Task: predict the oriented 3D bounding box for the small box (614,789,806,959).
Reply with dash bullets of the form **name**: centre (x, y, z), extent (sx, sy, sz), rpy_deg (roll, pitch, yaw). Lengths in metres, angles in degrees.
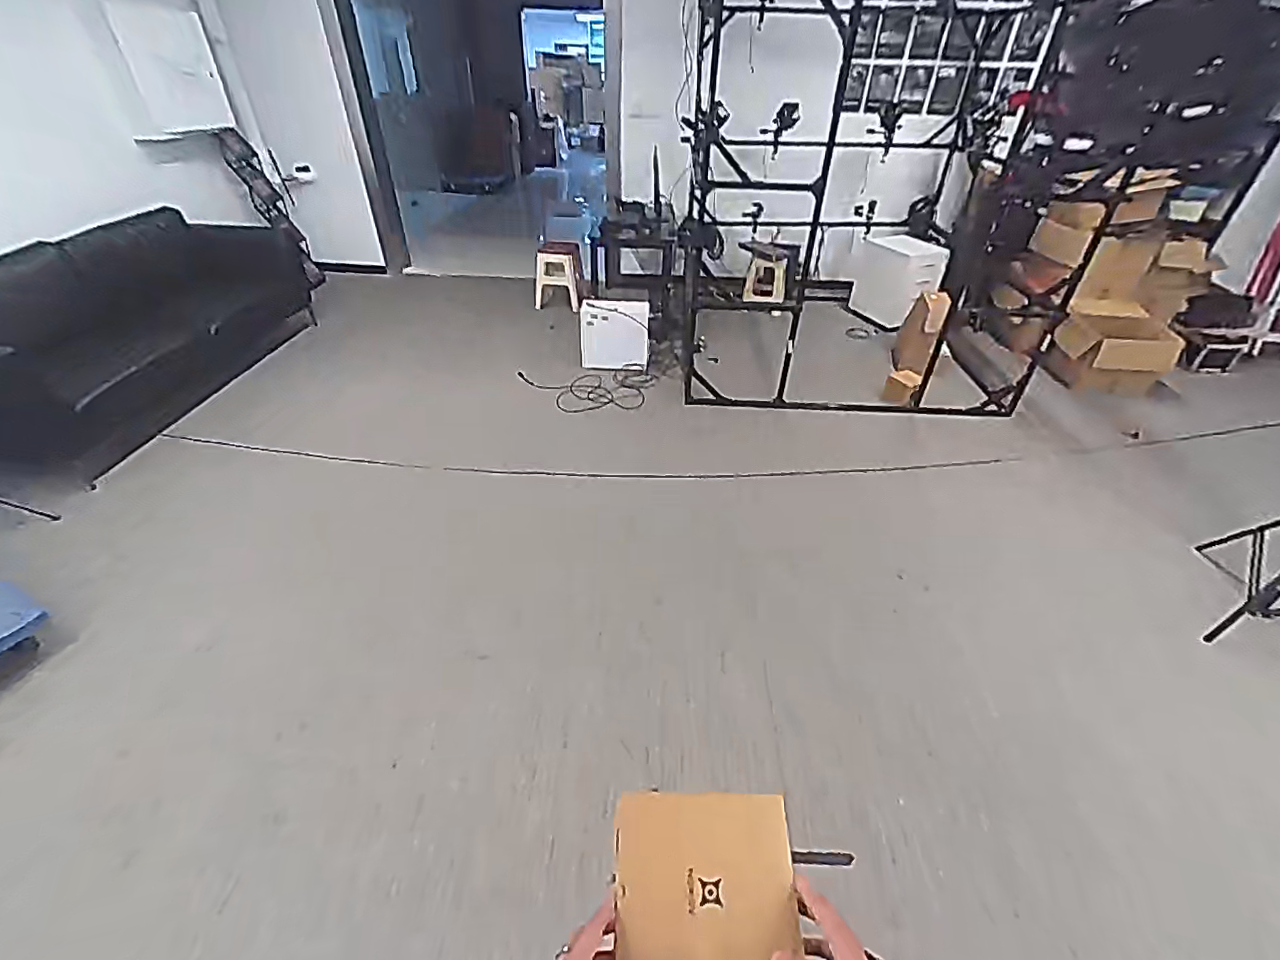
- **small box**: centre (0.062, 0.440, 0.582), extent (0.179, 0.176, 0.168), rpy_deg (1, 52, -1)
